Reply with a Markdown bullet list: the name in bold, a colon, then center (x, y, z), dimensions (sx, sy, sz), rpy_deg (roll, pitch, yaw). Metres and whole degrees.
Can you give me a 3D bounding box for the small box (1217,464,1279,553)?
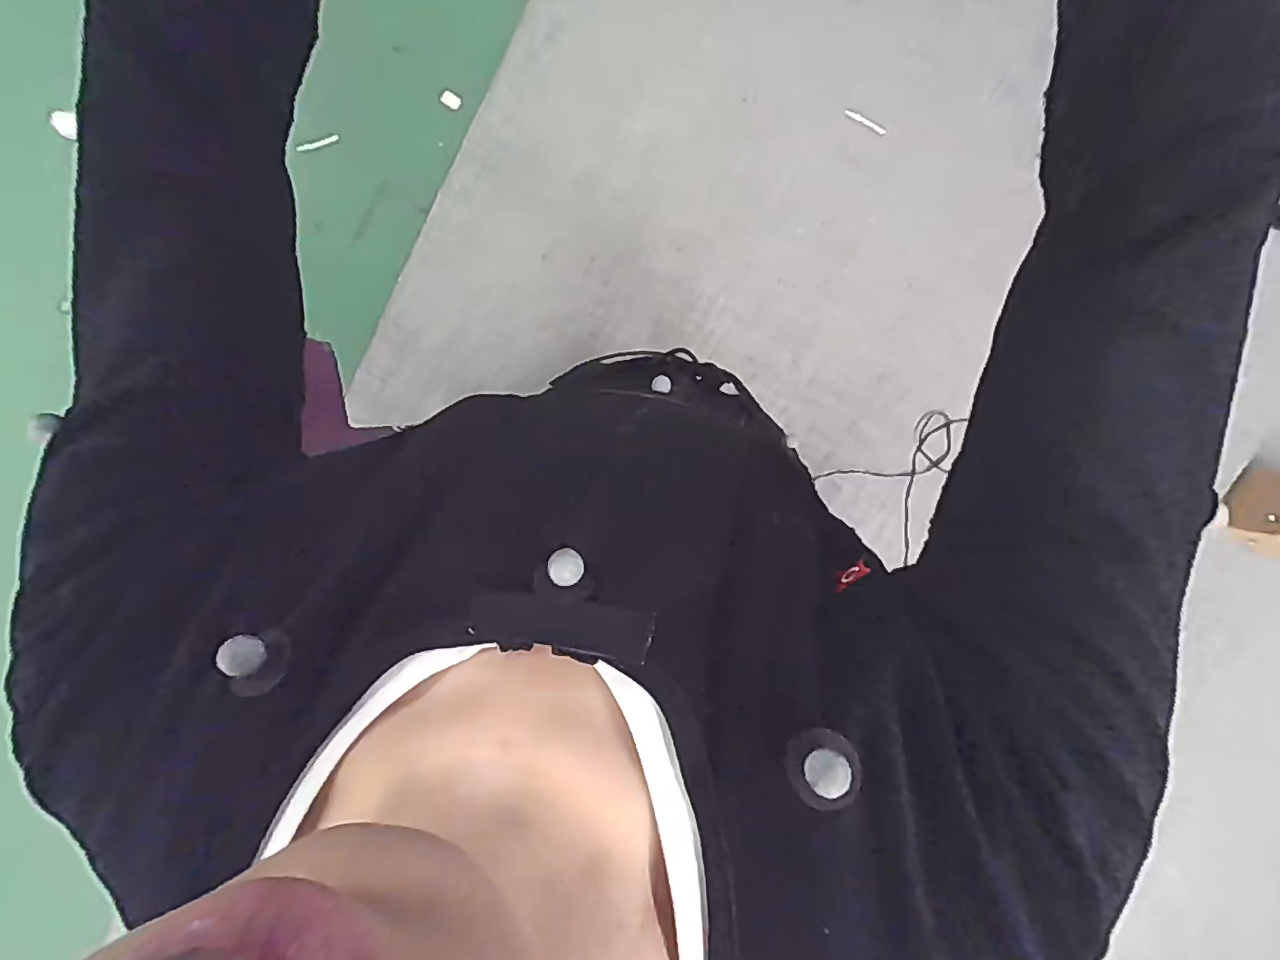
- **small box**: center (1.561, 0.075, 1.287), dimensions (0.168, 0.176, 0.179), rpy_deg (29, 98, 0)
